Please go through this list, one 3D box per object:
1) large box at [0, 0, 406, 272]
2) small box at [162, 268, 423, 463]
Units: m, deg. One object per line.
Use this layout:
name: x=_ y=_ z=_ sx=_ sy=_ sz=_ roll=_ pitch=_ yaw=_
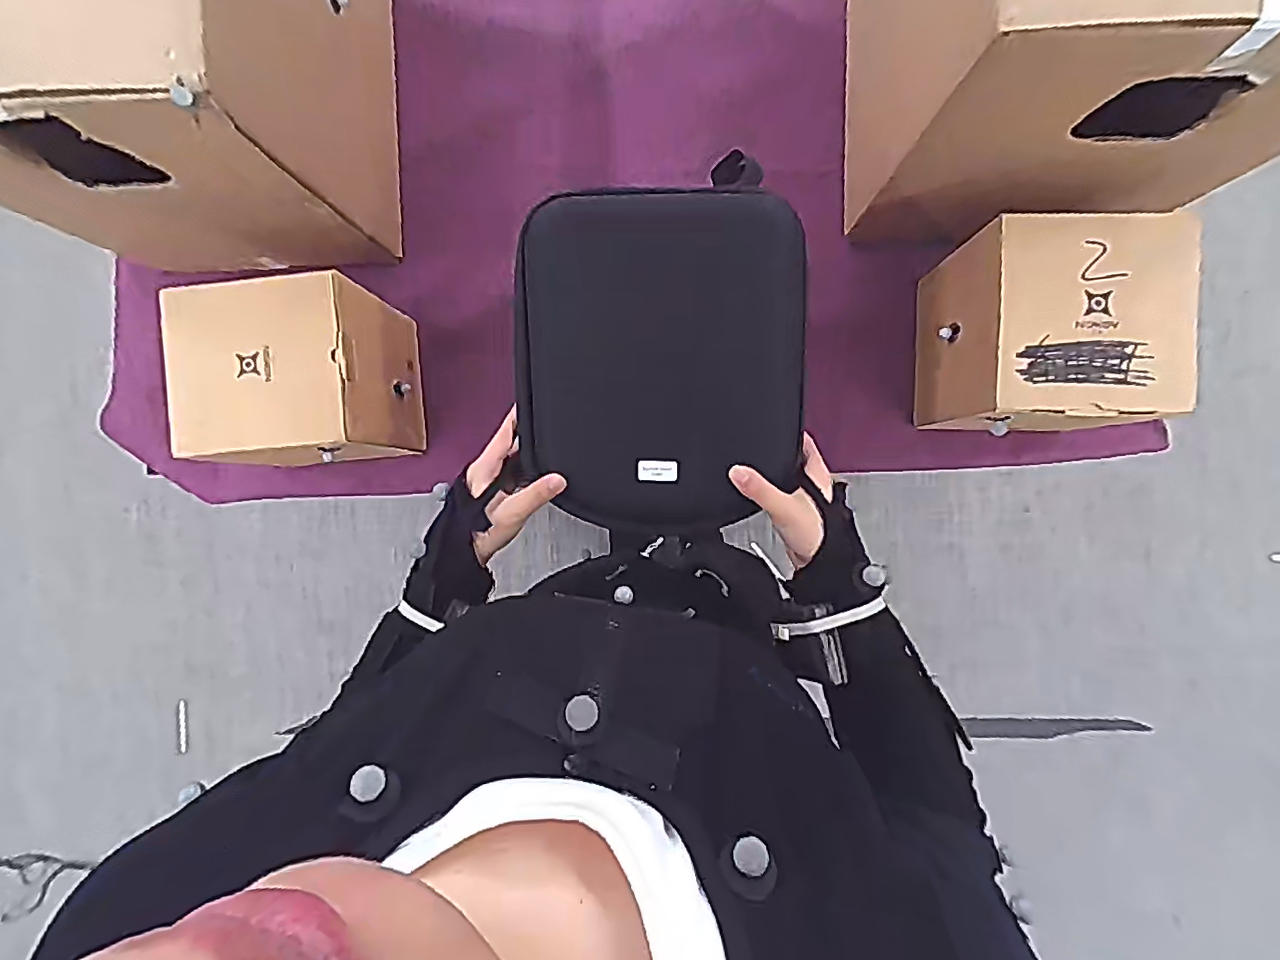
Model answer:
large box: x=-0.454 y=-0.461 z=0.527 sx=0.320 sy=0.320 sz=0.408 roll=-3 pitch=93 yaw=2
small box: x=-0.365 y=-0.111 z=0.595 sx=0.179 sy=0.176 sz=0.168 roll=-6 pitch=89 yaw=2
